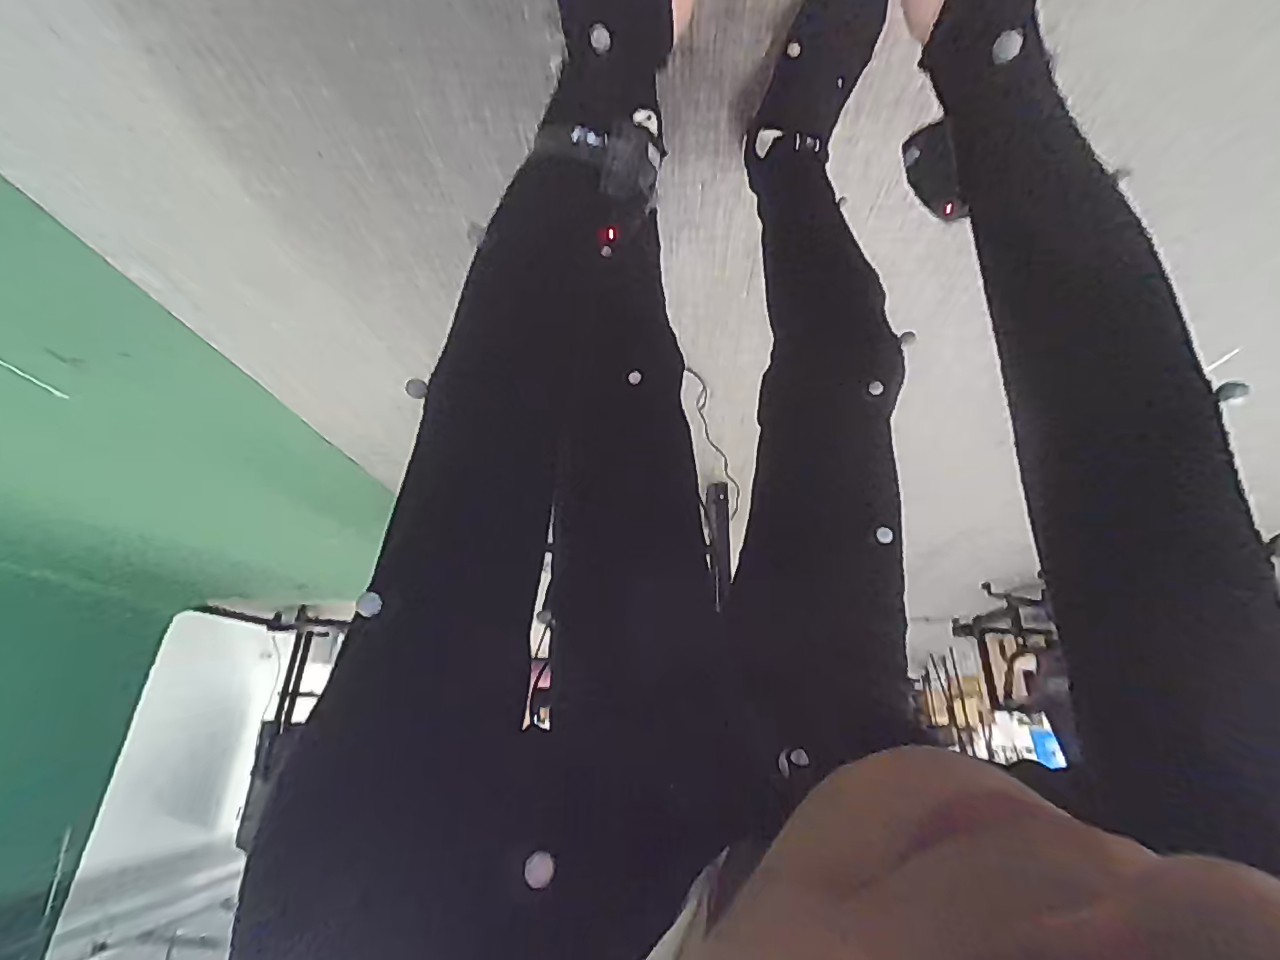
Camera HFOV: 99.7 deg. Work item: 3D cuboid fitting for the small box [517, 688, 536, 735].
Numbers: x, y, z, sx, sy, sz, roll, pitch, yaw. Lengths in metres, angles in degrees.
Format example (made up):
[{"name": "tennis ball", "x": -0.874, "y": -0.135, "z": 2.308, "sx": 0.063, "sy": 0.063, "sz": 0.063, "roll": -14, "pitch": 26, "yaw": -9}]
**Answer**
[{"name": "small box", "x": -0.522, "y": 0.927, "z": 2.167, "sx": 0.168, "sy": 0.176, "sz": 0.179, "roll": 0, "pitch": 157, "yaw": 4}]
